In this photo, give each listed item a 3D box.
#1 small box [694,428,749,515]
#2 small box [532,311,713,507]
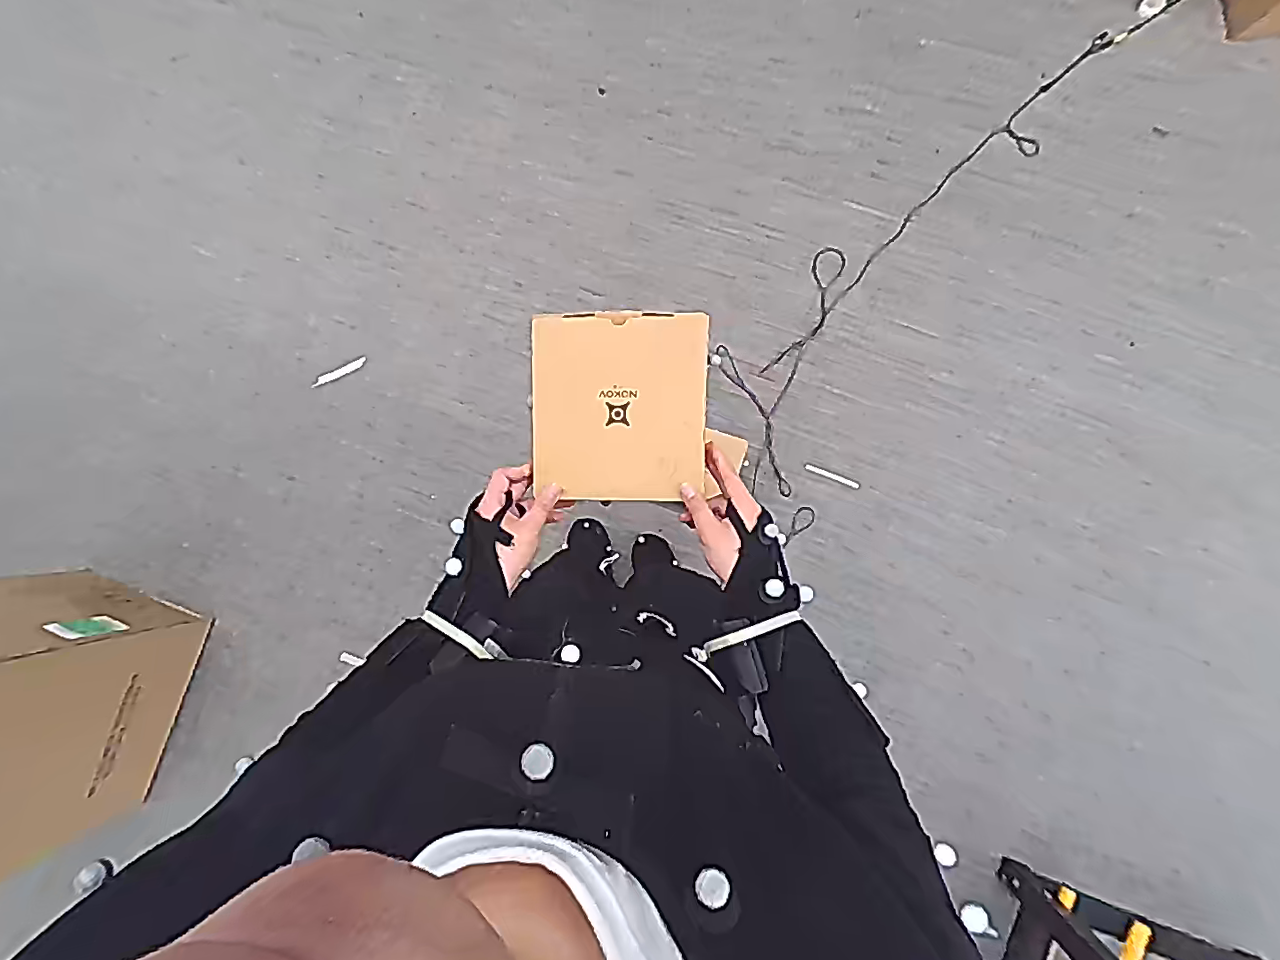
[{"bbox_3d":[0.144,-0.024,1.278,0.168,0.176,0.179,19,88,6],"label":"small box"},{"bbox_3d":[-0.011,-0.072,0.571,0.168,0.176,0.179,2,95,4],"label":"small box"}]
